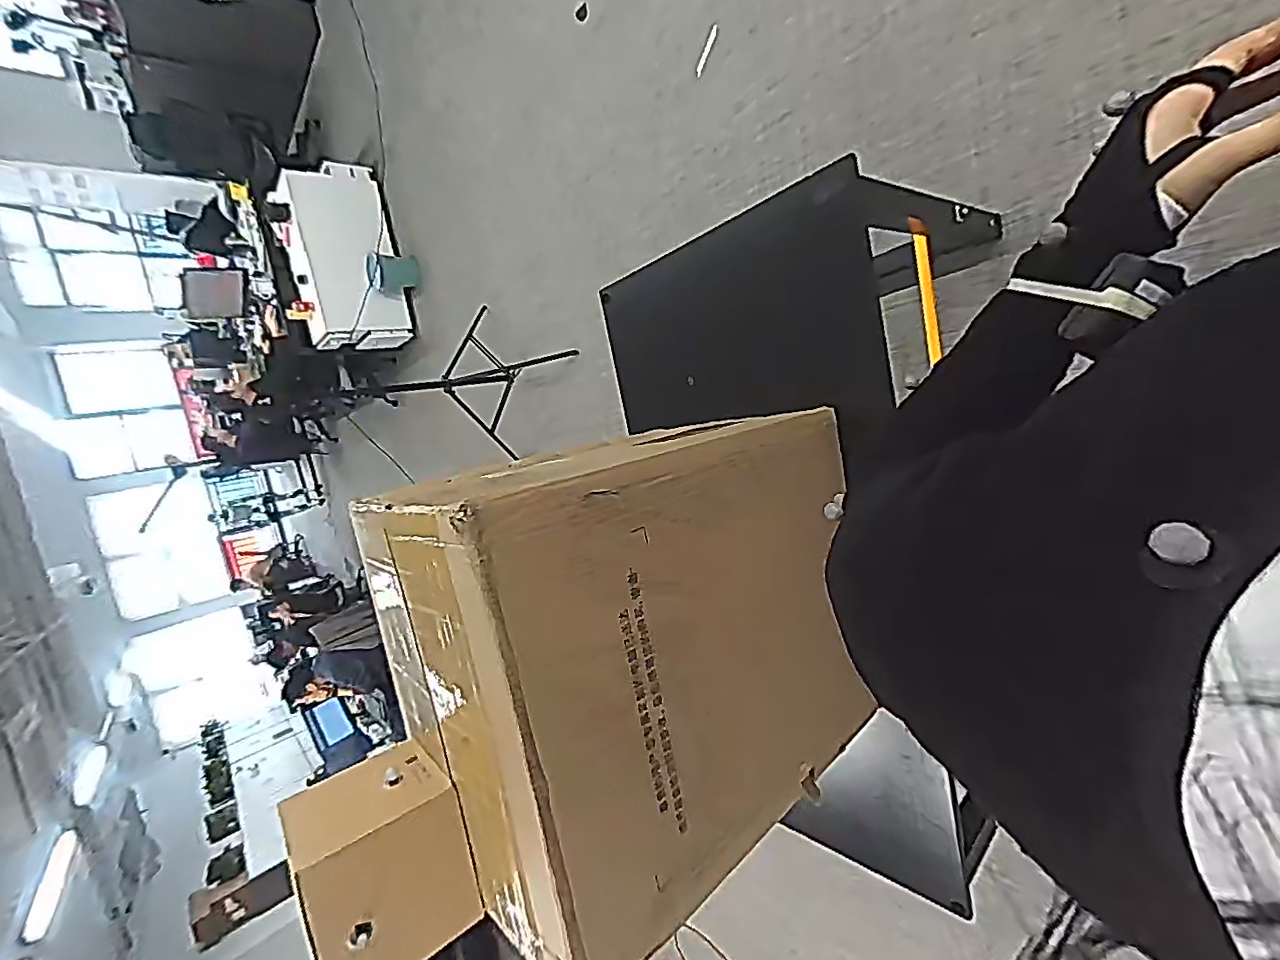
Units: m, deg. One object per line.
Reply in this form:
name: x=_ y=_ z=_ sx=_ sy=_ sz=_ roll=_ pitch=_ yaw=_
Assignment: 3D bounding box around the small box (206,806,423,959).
small box: x=-0.350 y=0.513 z=0.594 sx=0.168 sy=0.176 sz=0.179 roll=-2 pitch=100 yaw=51
